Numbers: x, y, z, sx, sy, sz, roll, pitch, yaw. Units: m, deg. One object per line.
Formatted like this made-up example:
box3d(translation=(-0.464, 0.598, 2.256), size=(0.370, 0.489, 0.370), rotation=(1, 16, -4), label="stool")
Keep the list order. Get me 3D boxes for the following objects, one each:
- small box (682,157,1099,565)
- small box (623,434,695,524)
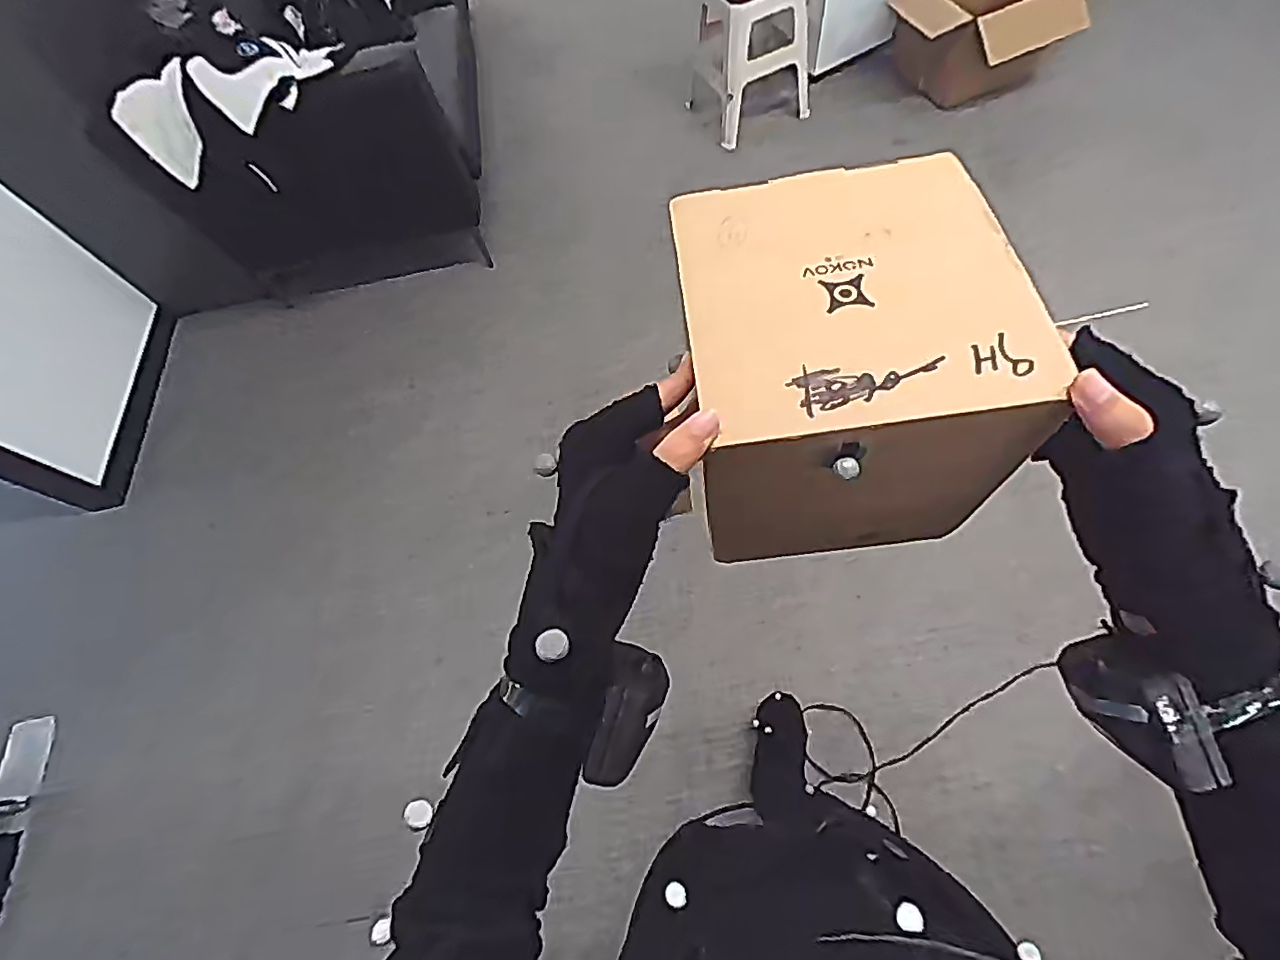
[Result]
box3d(translation=(0.120, -0.062, 0.345), size=(0.168, 0.176, 0.179), rotation=(-8, 61, 6), label="small box")
box3d(translation=(0.054, 0.000, 1.482), size=(0.168, 0.176, 0.179), rotation=(-11, 63, 4), label="small box")
